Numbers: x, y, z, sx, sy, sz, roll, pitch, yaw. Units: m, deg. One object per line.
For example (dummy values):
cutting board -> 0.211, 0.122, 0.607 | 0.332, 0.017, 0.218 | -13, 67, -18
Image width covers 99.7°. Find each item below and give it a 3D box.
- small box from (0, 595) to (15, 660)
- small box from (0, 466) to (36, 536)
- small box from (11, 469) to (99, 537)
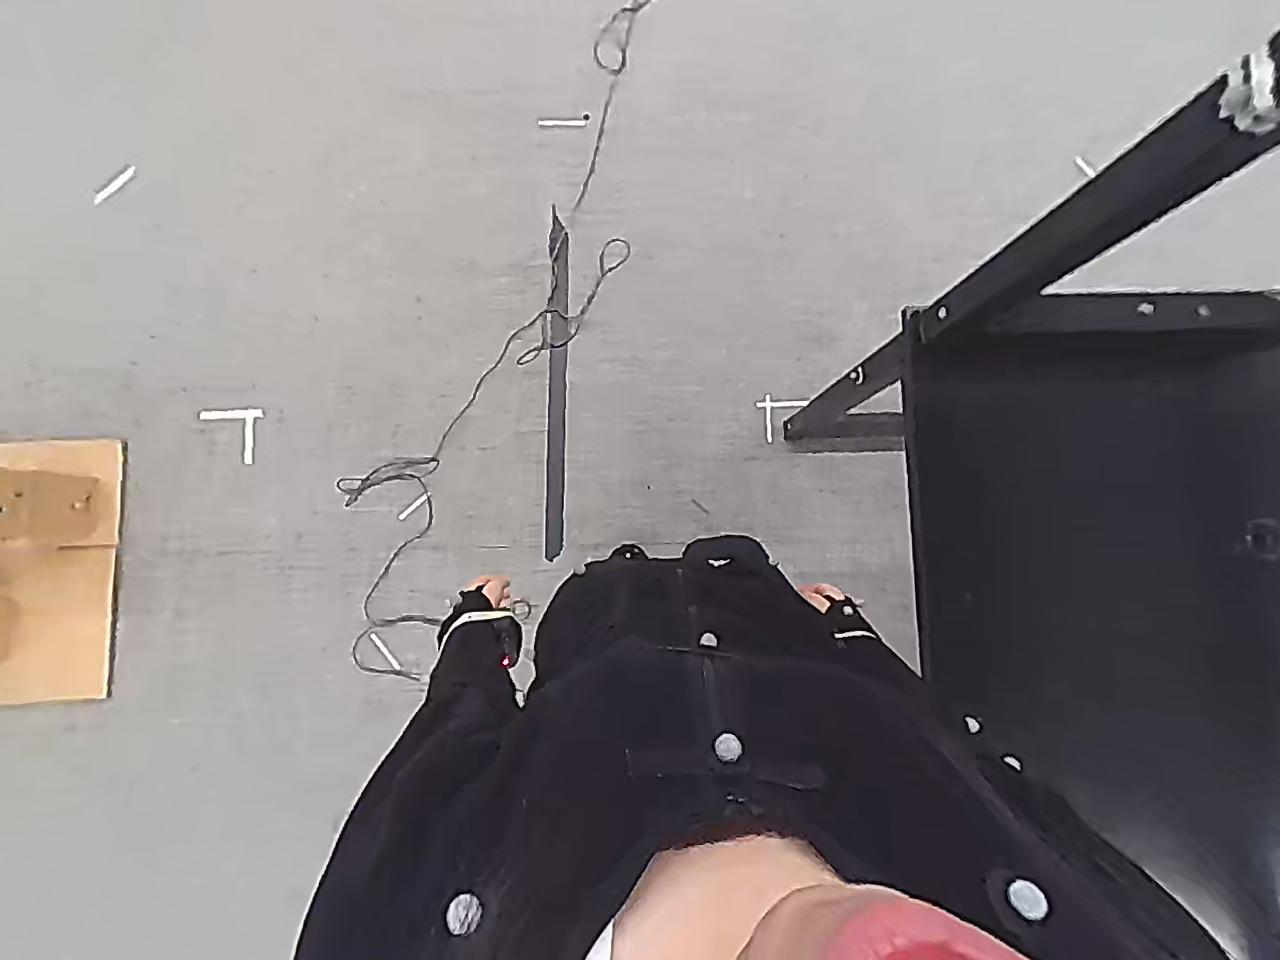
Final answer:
small box -> -1.745, 0.381, 1.352 | 0.168, 0.176, 0.179 | 7, 85, -1
small box -> -1.563, 0.043, 1.230 | 0.179, 0.176, 0.168 | 2, 84, -2
small box -> -1.567, 0.062, 1.392 | 0.179, 0.176, 0.168 | -1, 85, -2
